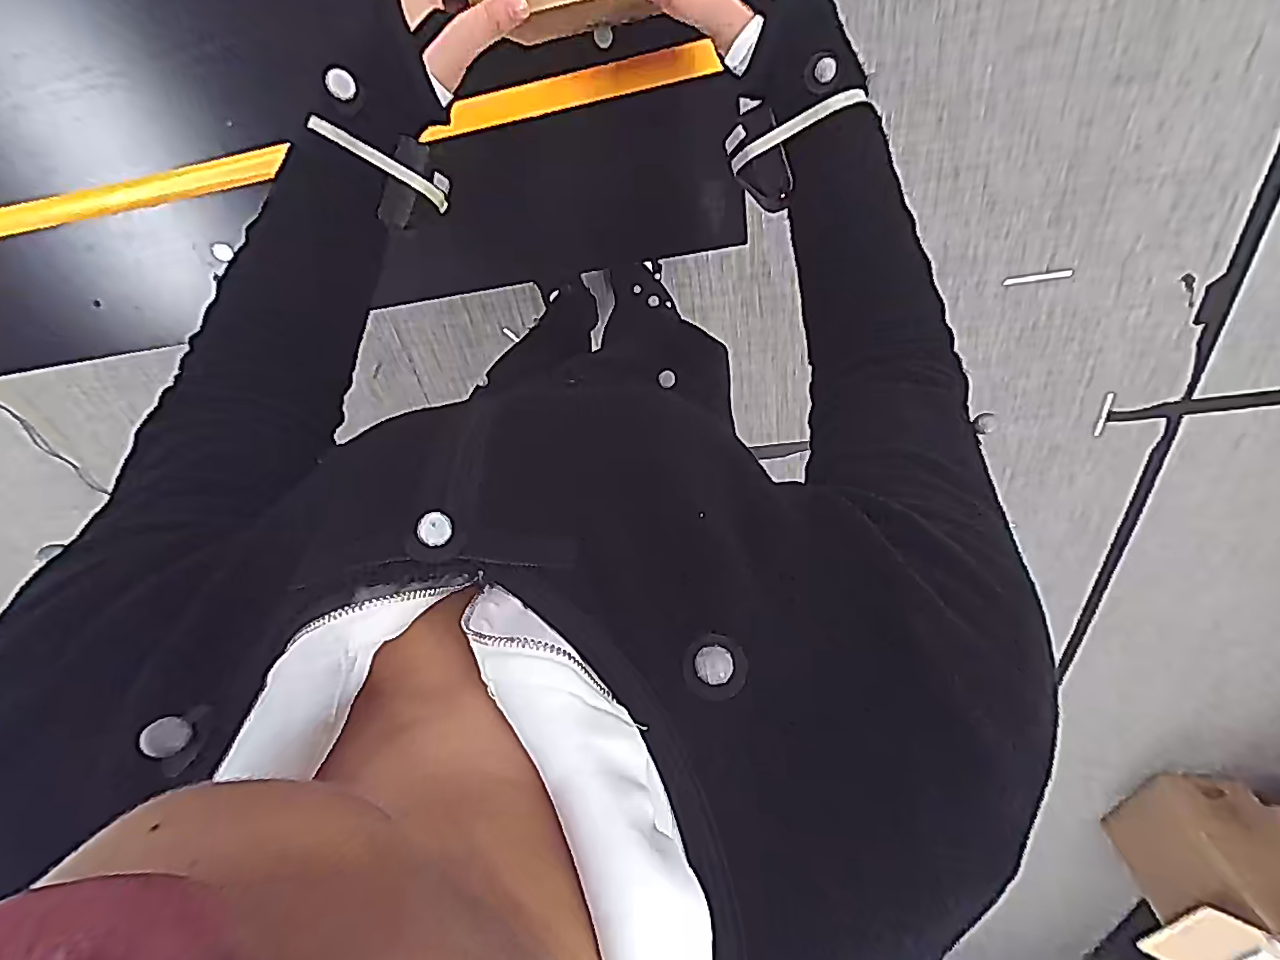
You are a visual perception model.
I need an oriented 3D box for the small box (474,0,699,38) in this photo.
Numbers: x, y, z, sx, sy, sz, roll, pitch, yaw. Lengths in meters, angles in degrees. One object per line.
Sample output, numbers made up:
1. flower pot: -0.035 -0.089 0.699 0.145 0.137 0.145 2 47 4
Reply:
1. small box: -0.039 -0.435 0.372 0.168 0.176 0.179 -6 125 7
